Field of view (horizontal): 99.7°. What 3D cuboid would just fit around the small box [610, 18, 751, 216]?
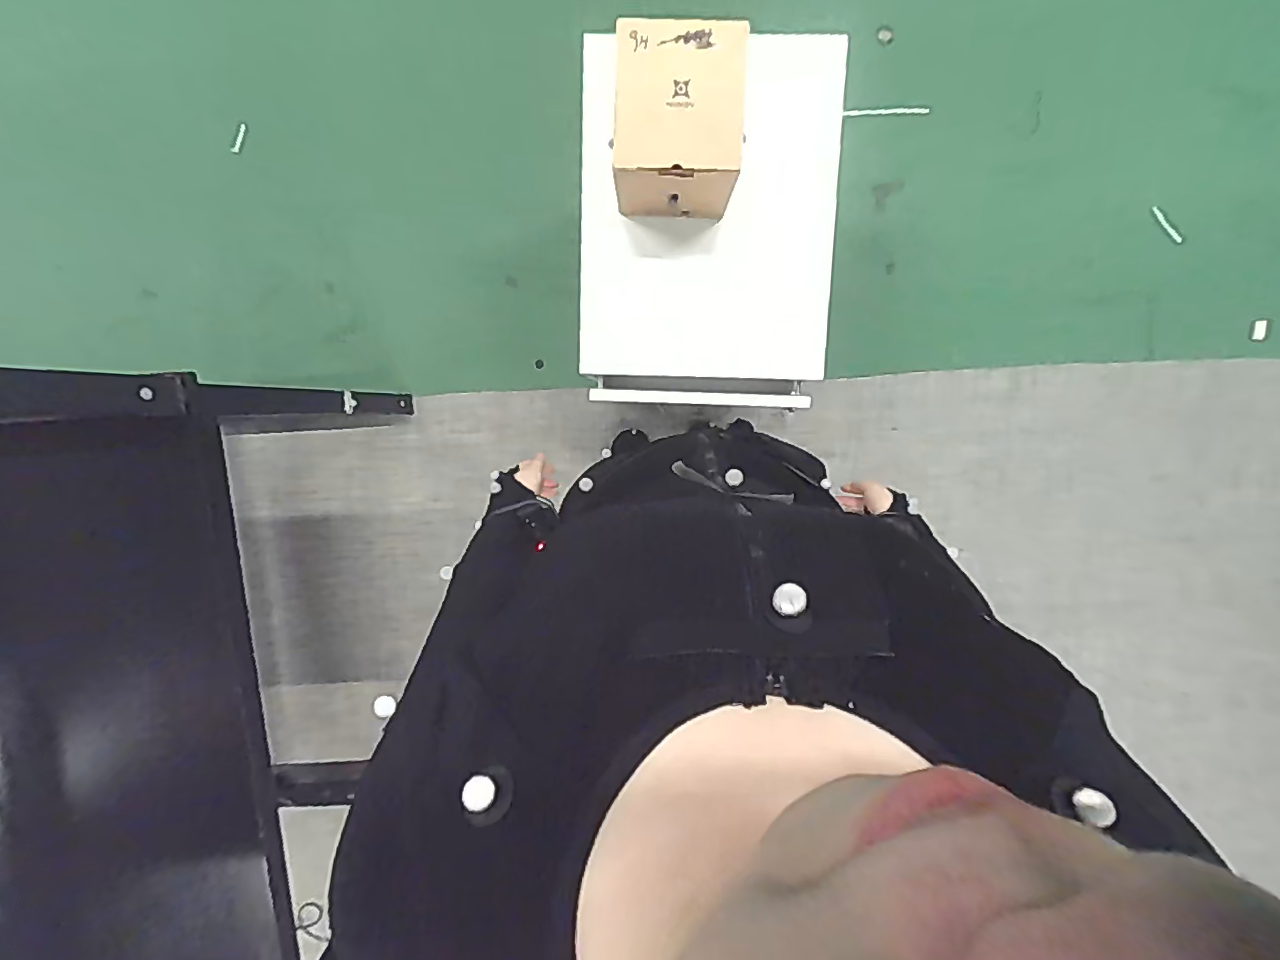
[{"bbox_3d":[0.050,-0.479,0.741,0.168,0.176,0.179,2,98,1],"label":"small box"}]
